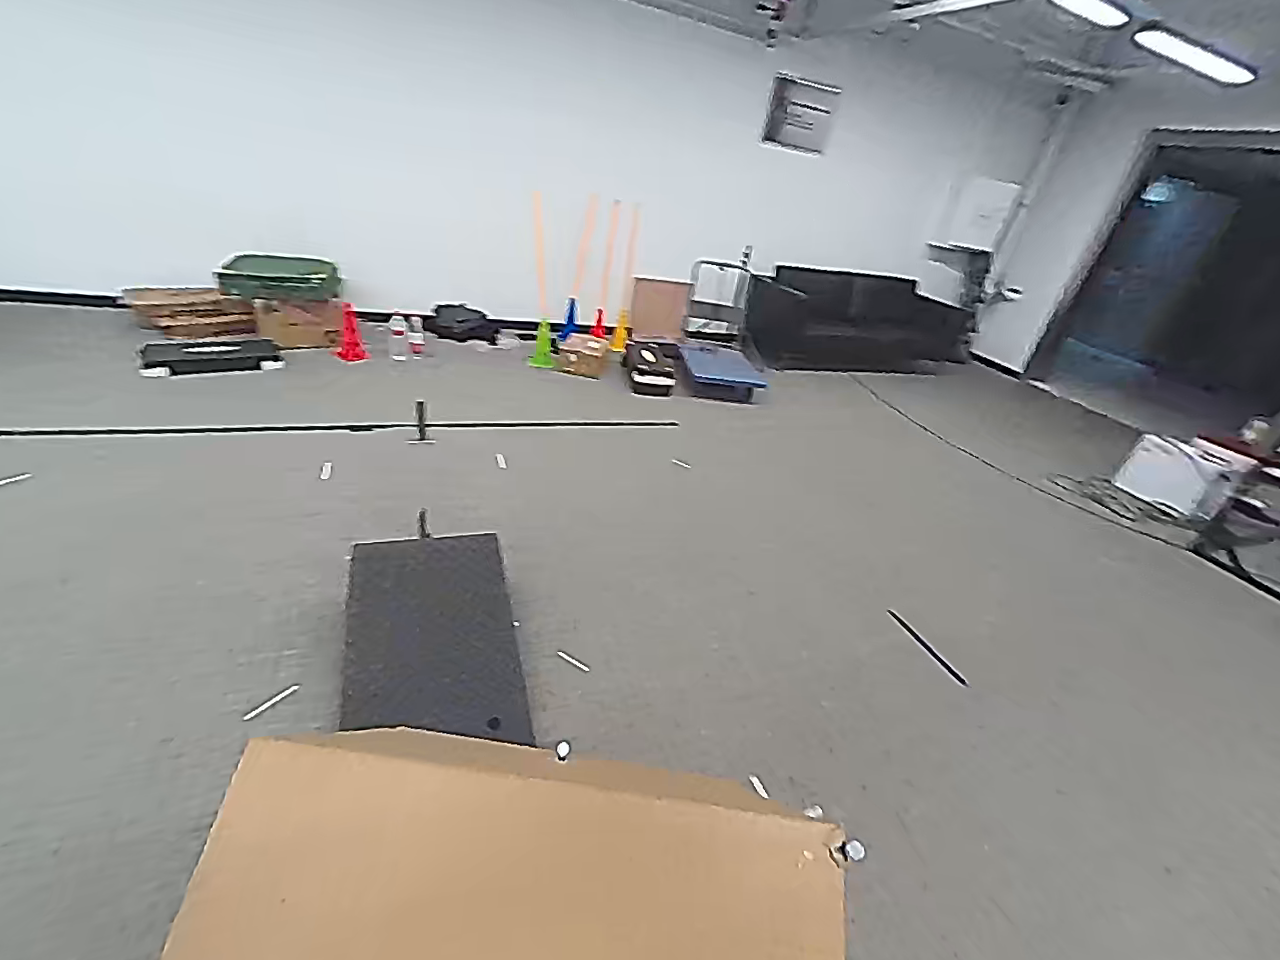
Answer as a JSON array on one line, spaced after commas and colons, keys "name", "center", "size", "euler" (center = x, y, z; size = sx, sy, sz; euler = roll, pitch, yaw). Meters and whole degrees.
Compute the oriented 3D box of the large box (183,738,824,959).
[{"name": "large box", "center": [-0.100, 0.409, 0.453], "size": [0.408, 0.320, 0.320], "euler": [9, 67, -3]}]
